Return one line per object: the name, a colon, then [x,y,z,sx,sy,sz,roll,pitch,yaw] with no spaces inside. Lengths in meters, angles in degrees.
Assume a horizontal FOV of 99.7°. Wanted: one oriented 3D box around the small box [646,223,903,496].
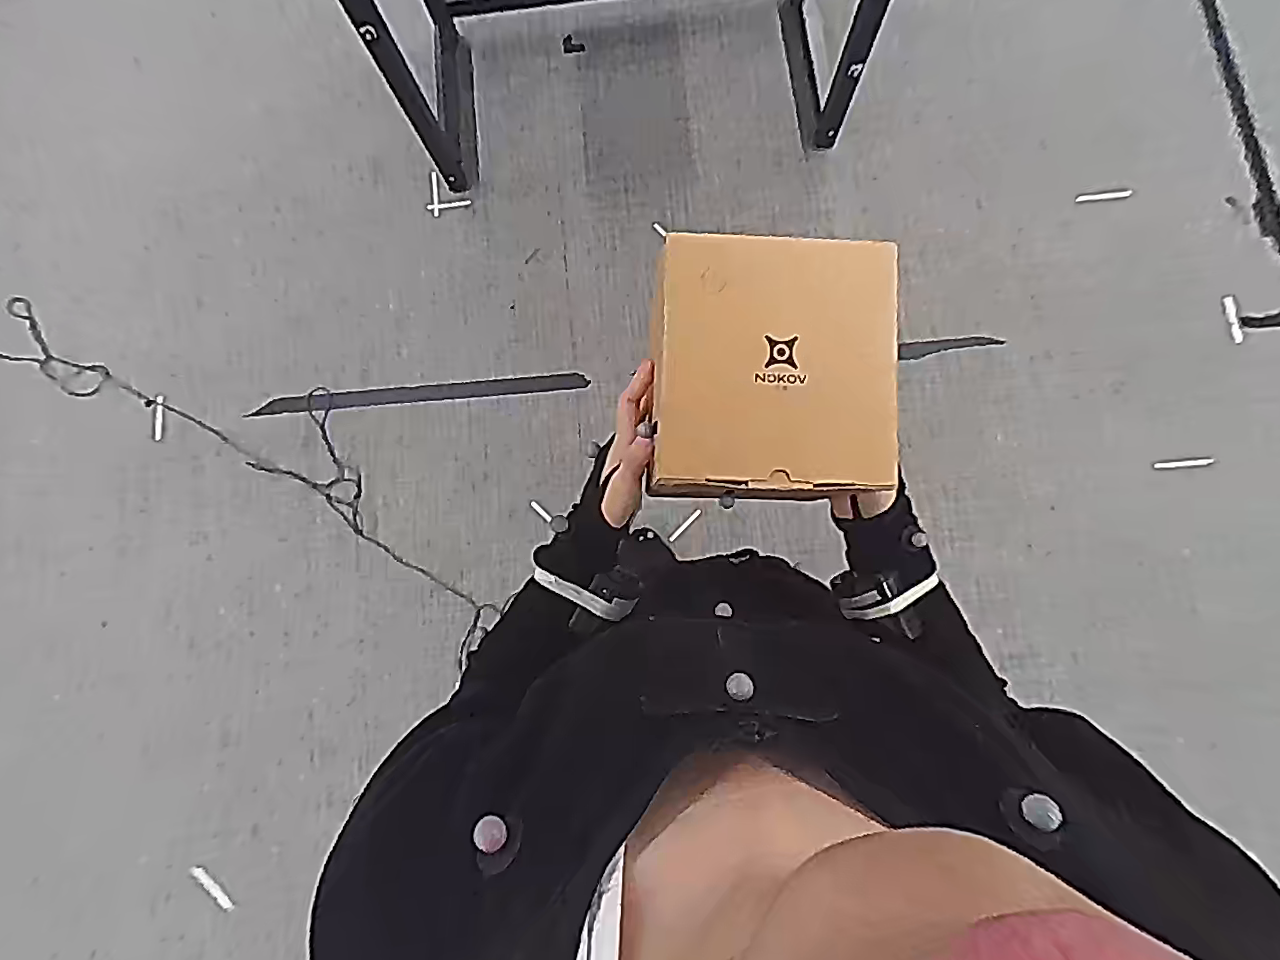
small box: [0.093,-0.080,0.444,0.168,0.176,0.179,2,86,-2]
